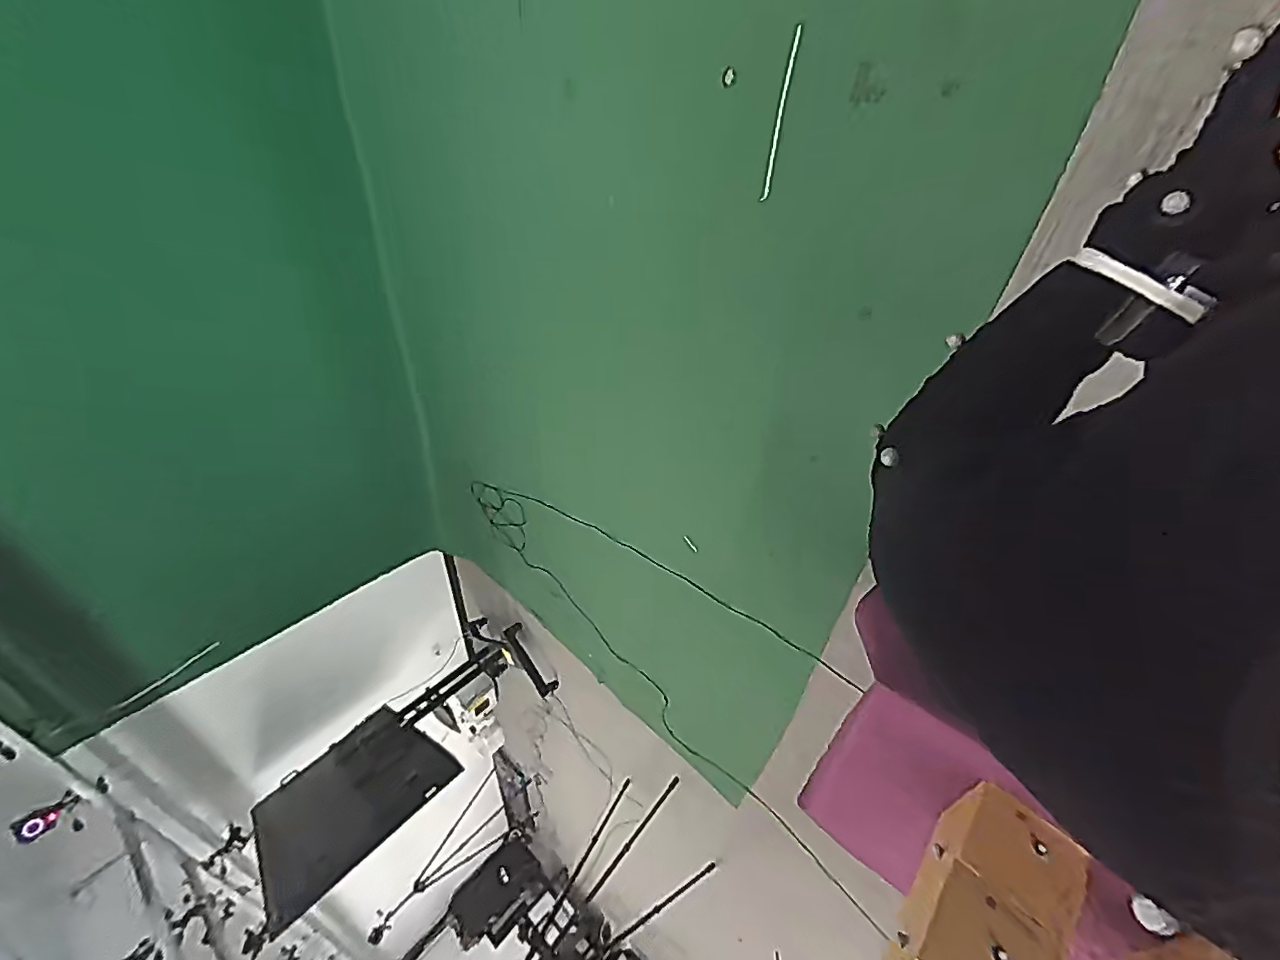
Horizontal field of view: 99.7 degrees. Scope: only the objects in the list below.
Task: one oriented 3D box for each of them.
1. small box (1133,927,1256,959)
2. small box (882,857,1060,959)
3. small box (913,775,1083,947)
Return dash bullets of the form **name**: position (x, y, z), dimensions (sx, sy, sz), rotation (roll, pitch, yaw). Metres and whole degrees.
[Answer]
- **small box**: position (0.833, 0.786, 0.754), dimensions (0.179, 0.176, 0.168), rotation (33, 136, 28)
- **small box**: position (0.492, 0.718, 0.813), dimensions (0.168, 0.176, 0.179), rotation (33, 136, 29)
- **small box**: position (0.603, 0.649, 0.913), dimensions (0.168, 0.176, 0.179), rotation (34, 136, 27)
